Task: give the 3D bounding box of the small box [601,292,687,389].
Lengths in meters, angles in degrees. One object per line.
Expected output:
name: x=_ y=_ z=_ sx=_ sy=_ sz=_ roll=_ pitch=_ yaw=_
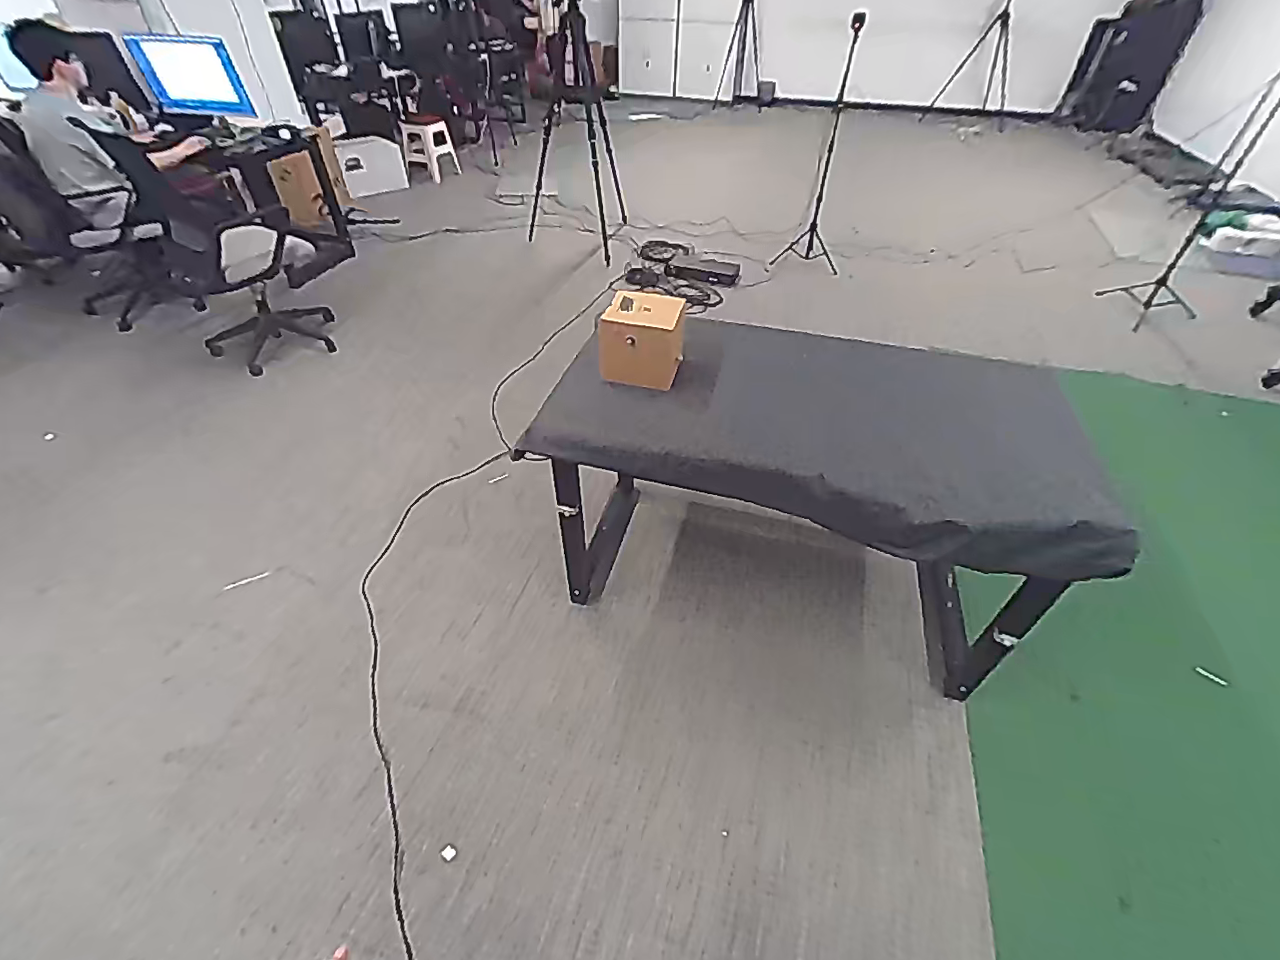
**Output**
small box: x=0.011 y=-0.343 z=1.336 sx=0.179 sy=0.176 sz=0.168 roll=11 pitch=44 yaw=9
